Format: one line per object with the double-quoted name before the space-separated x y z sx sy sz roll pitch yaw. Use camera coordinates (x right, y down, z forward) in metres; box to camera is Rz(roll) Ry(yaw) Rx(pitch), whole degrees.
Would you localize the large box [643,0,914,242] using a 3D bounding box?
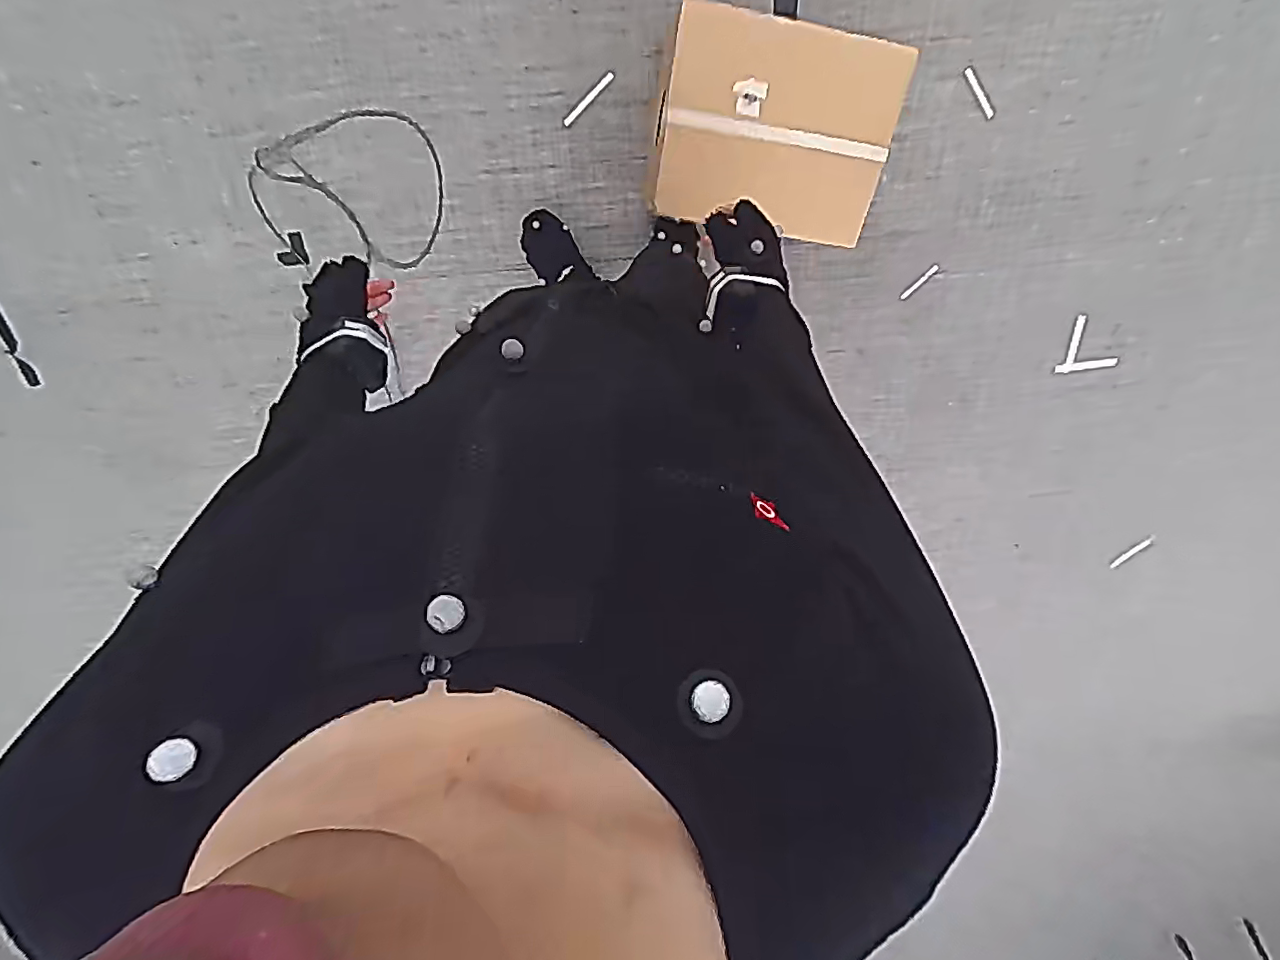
"large box" 0.233 -0.695 1.077 0.408 0.320 0.320 9 120 -7
